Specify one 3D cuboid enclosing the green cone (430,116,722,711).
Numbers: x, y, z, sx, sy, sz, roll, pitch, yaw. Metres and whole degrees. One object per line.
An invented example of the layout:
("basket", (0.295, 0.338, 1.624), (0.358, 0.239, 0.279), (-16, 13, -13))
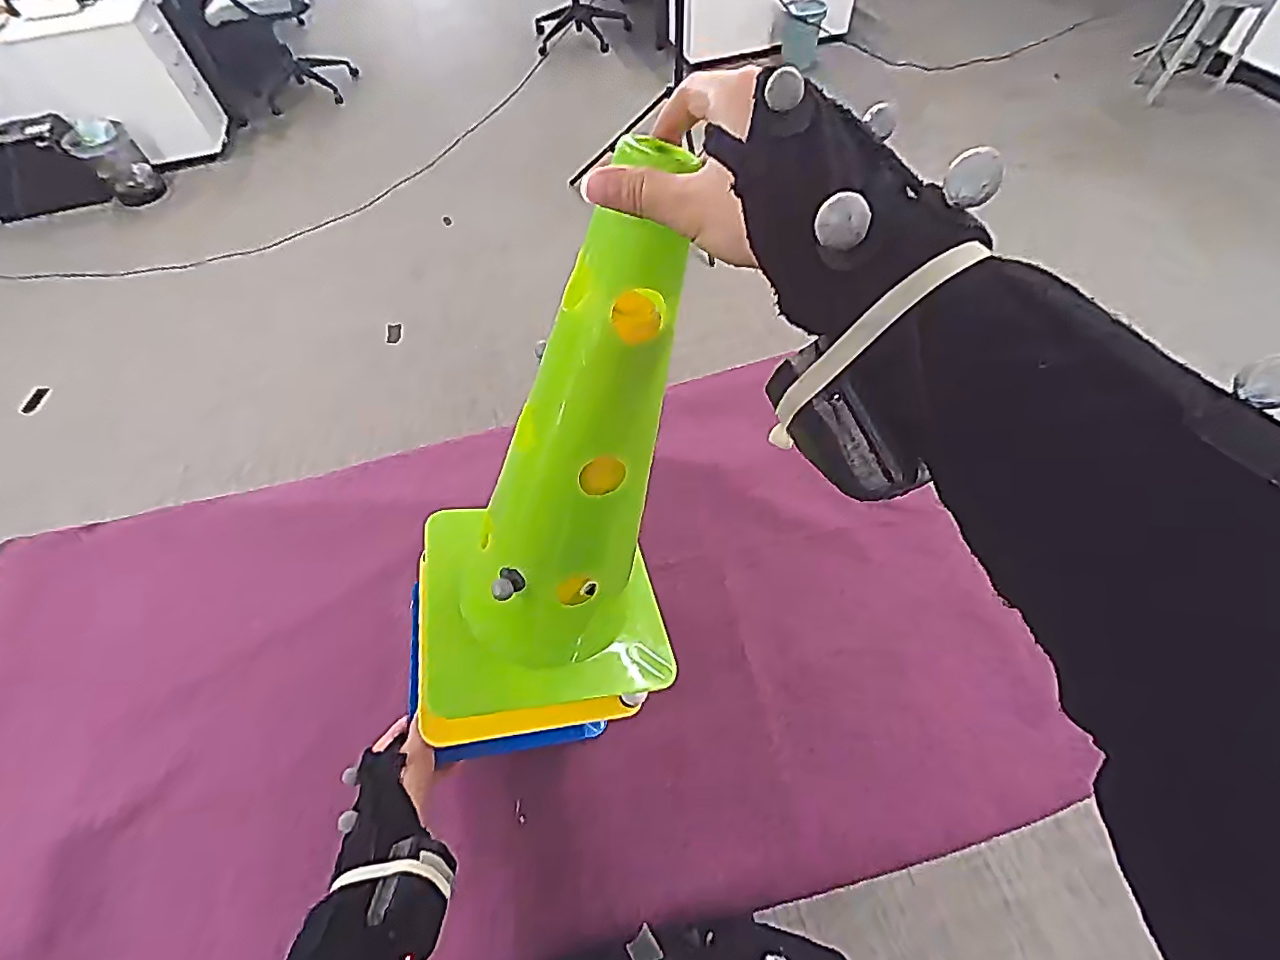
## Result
("green cone", (-0.033, -0.029, 0.358), (0.200, 0.368, 0.202), (0, 46, -21))
